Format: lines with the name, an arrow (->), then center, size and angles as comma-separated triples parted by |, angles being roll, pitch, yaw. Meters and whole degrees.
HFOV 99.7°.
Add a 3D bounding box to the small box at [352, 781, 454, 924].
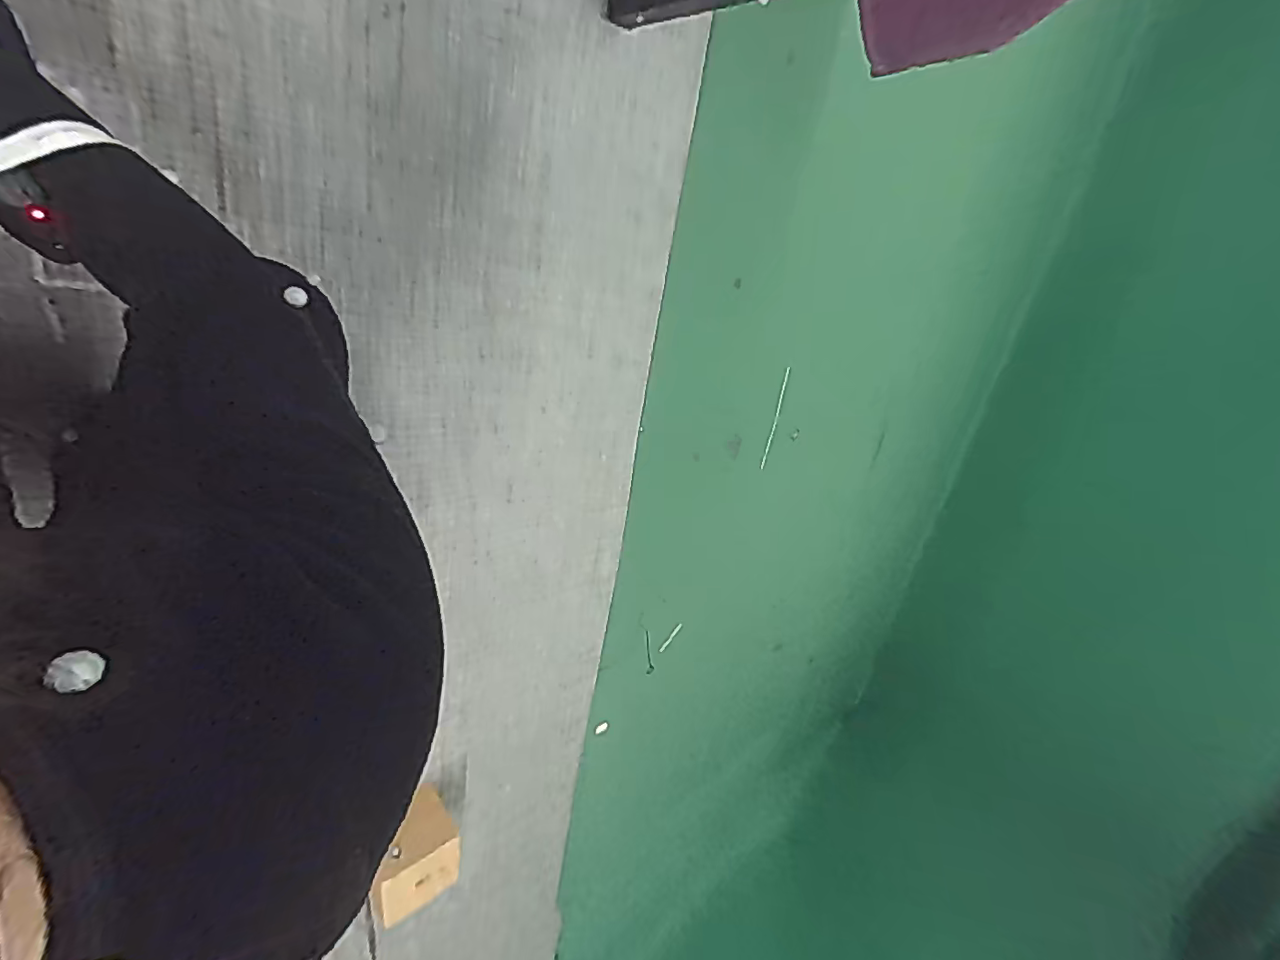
small box -> -0.552, 0.850, 1.251 | 0.179, 0.176, 0.168 | -13, 122, -42
